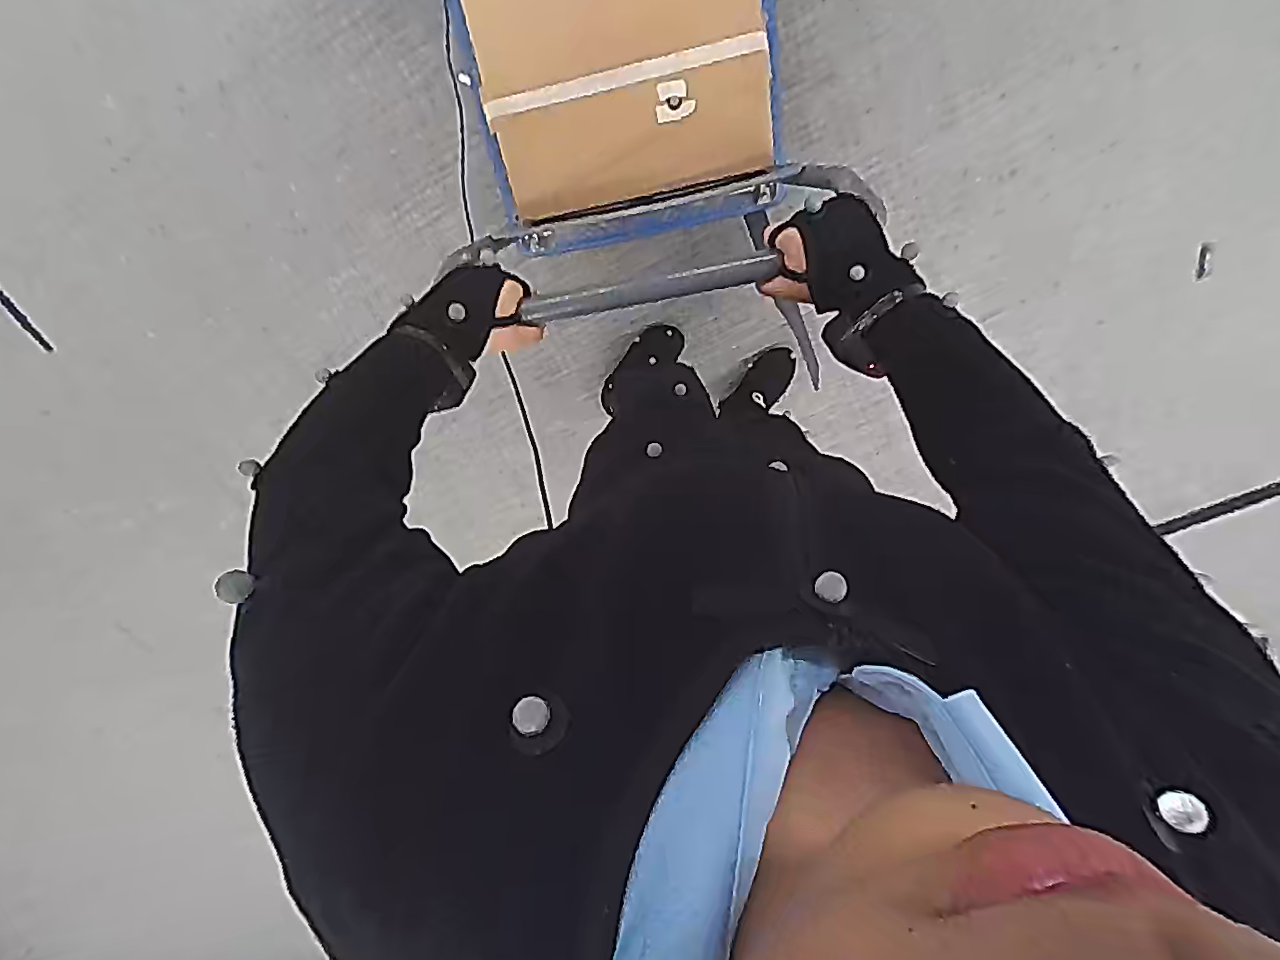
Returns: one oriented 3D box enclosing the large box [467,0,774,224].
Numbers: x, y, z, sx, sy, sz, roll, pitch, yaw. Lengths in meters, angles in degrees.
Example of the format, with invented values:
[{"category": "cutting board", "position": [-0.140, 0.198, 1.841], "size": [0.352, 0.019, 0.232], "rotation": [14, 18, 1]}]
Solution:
[{"category": "large box", "position": [-0.016, -0.650, 0.922], "size": [0.408, 0.320, 0.320], "rotation": [-10, 116, 6]}]
